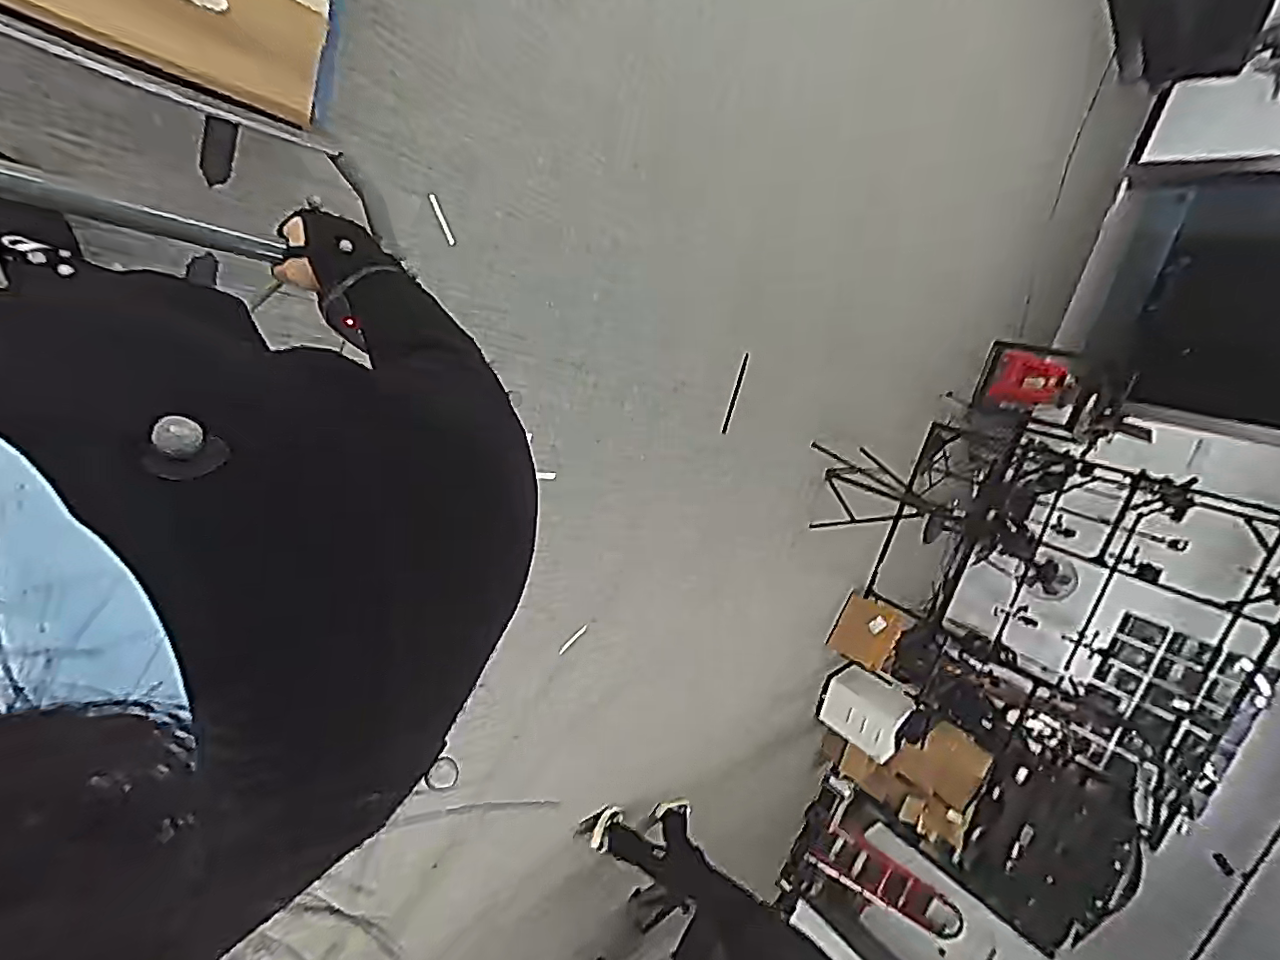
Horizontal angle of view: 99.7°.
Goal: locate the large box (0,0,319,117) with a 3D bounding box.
[{"bbox_3d":[-0.675,-0.750,0.697,0.408,0.320,0.320,0,126,-46],"label":"large box"}]
